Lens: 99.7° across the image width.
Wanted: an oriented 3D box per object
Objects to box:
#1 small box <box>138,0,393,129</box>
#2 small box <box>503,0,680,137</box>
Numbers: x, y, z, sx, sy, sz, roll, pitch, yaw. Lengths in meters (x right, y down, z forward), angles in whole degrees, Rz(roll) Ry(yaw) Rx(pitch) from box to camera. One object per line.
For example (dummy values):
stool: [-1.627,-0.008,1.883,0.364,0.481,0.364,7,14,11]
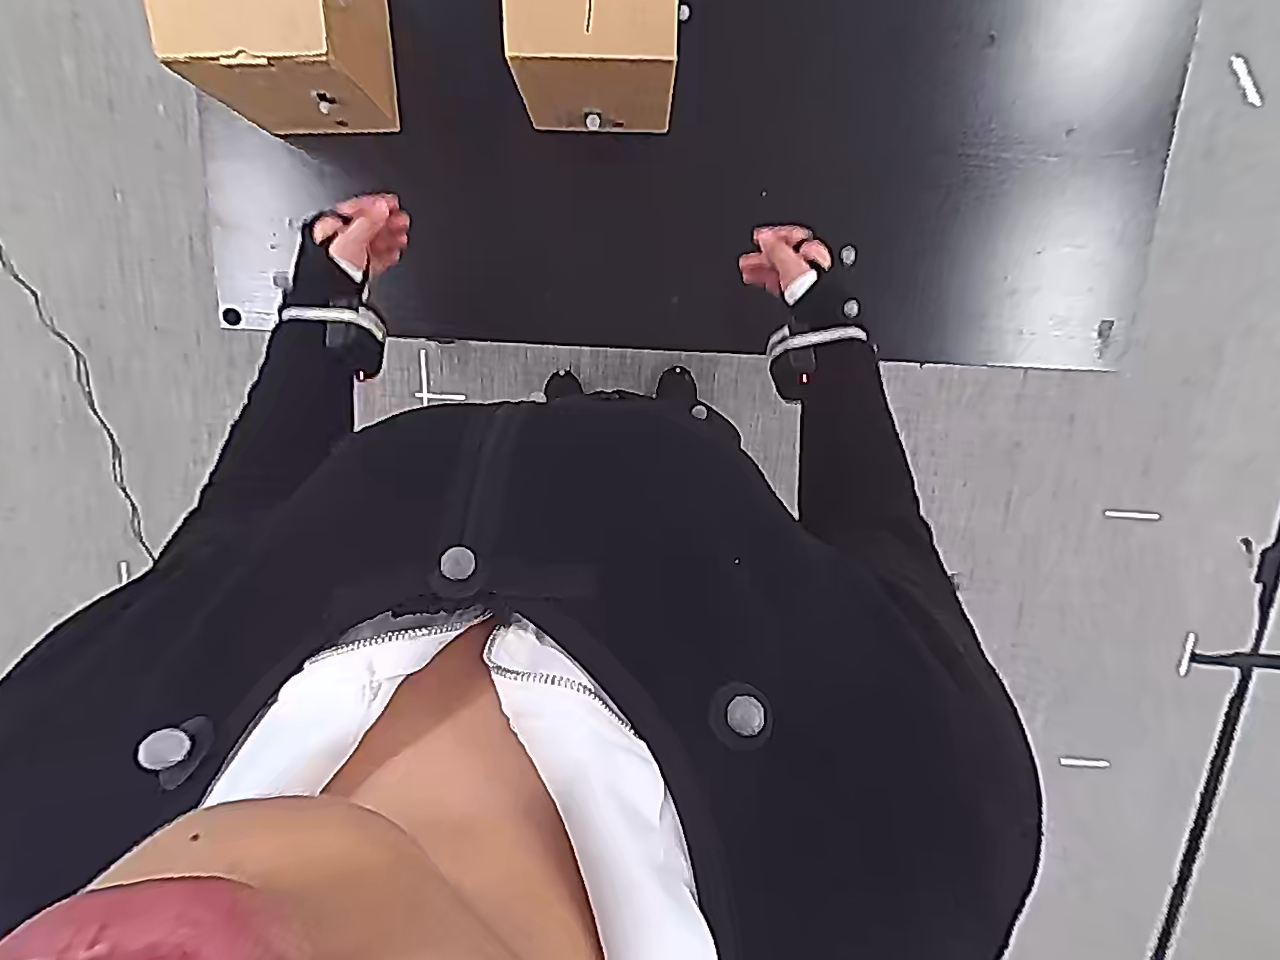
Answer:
small box: [-0.377,-0.493,0.564,0.168,0.176,0.179,-2,101,-2]
small box: [-0.044,-0.495,0.568,0.168,0.176,0.179,2,103,-1]
